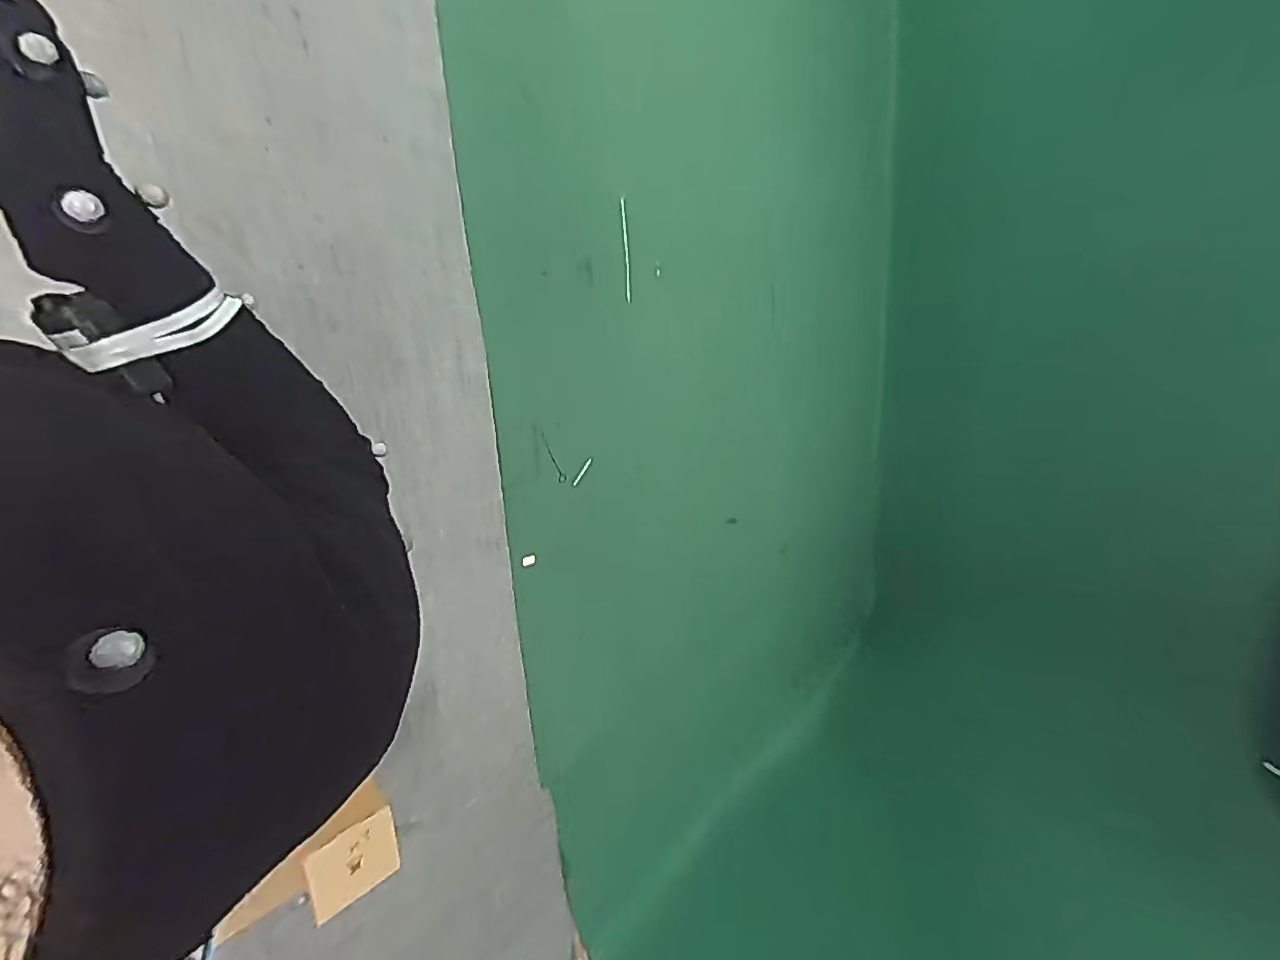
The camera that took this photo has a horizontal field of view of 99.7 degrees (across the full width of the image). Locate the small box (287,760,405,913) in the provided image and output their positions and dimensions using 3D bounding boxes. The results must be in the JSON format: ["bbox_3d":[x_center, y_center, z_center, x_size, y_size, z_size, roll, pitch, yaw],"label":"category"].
[{"bbox_3d":[-0.629,0.750,1.159,0.168,0.176,0.179,-18,113,-45],"label":"small box"}]
